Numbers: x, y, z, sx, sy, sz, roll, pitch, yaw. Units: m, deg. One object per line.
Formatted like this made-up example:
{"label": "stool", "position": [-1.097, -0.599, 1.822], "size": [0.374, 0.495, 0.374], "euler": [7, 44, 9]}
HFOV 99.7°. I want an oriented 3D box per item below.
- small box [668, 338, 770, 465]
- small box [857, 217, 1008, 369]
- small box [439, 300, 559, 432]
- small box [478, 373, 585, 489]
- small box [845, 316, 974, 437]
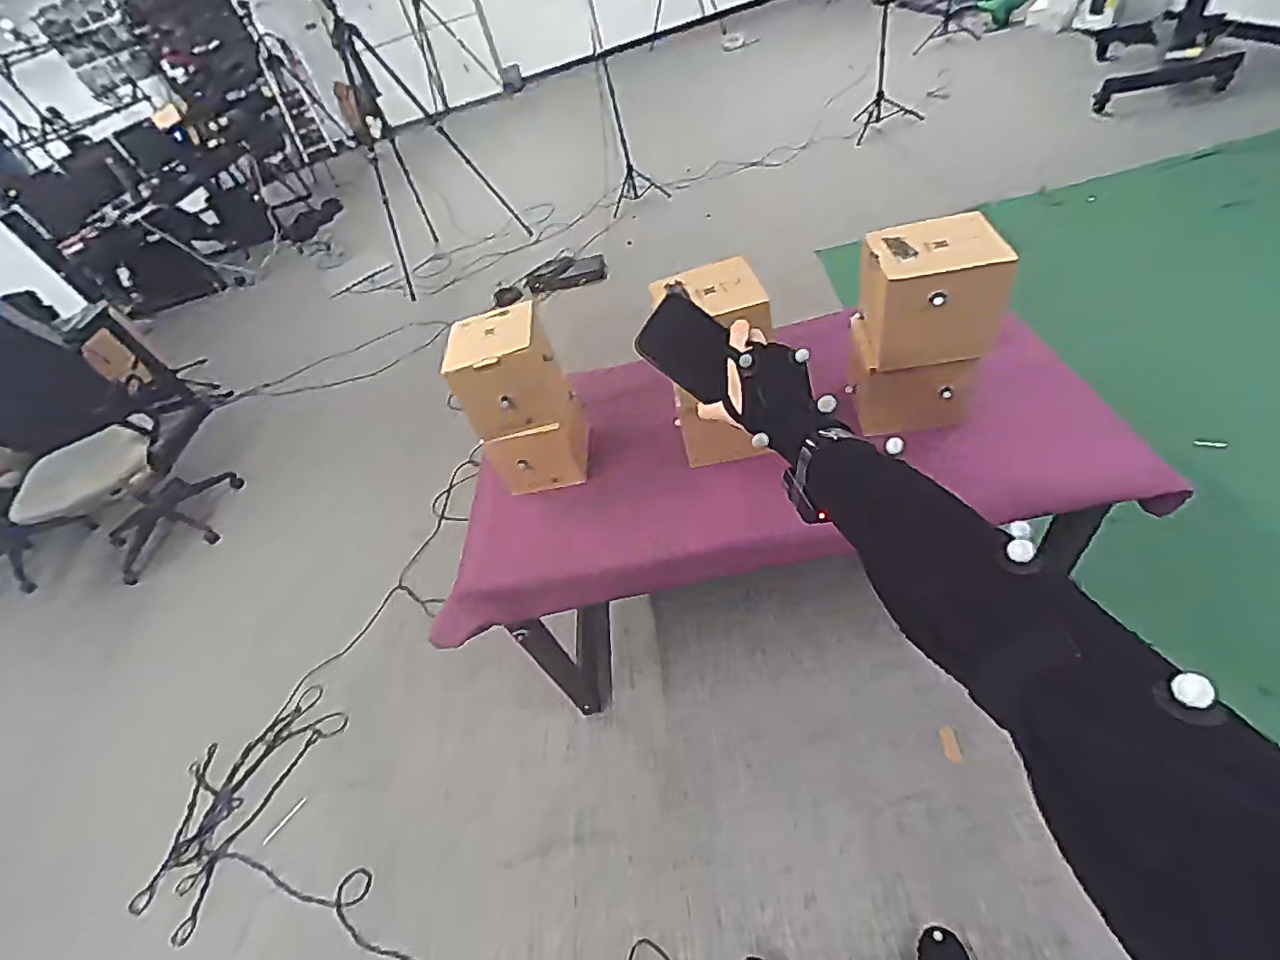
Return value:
{"label": "small box", "position": [0.159, -0.152, 1.076], "size": [0.179, 0.176, 0.168], "euler": [-11, 46, 9]}
{"label": "small box", "position": [0.461, -0.299, 0.887], "size": [0.179, 0.176, 0.168], "euler": [-6, 47, 13]}
{"label": "small box", "position": [-0.260, -0.211, 1.040], "size": [0.168, 0.176, 0.179], "euler": [-13, 47, 5]}
{"label": "small box", "position": [-0.221, -0.097, 1.152], "size": [0.168, 0.176, 0.179], "euler": [-10, 46, 9]}
{"label": "small box", "position": [0.490, -0.201, 1.015], "size": [0.179, 0.176, 0.168], "euler": [-6, 47, 14]}
